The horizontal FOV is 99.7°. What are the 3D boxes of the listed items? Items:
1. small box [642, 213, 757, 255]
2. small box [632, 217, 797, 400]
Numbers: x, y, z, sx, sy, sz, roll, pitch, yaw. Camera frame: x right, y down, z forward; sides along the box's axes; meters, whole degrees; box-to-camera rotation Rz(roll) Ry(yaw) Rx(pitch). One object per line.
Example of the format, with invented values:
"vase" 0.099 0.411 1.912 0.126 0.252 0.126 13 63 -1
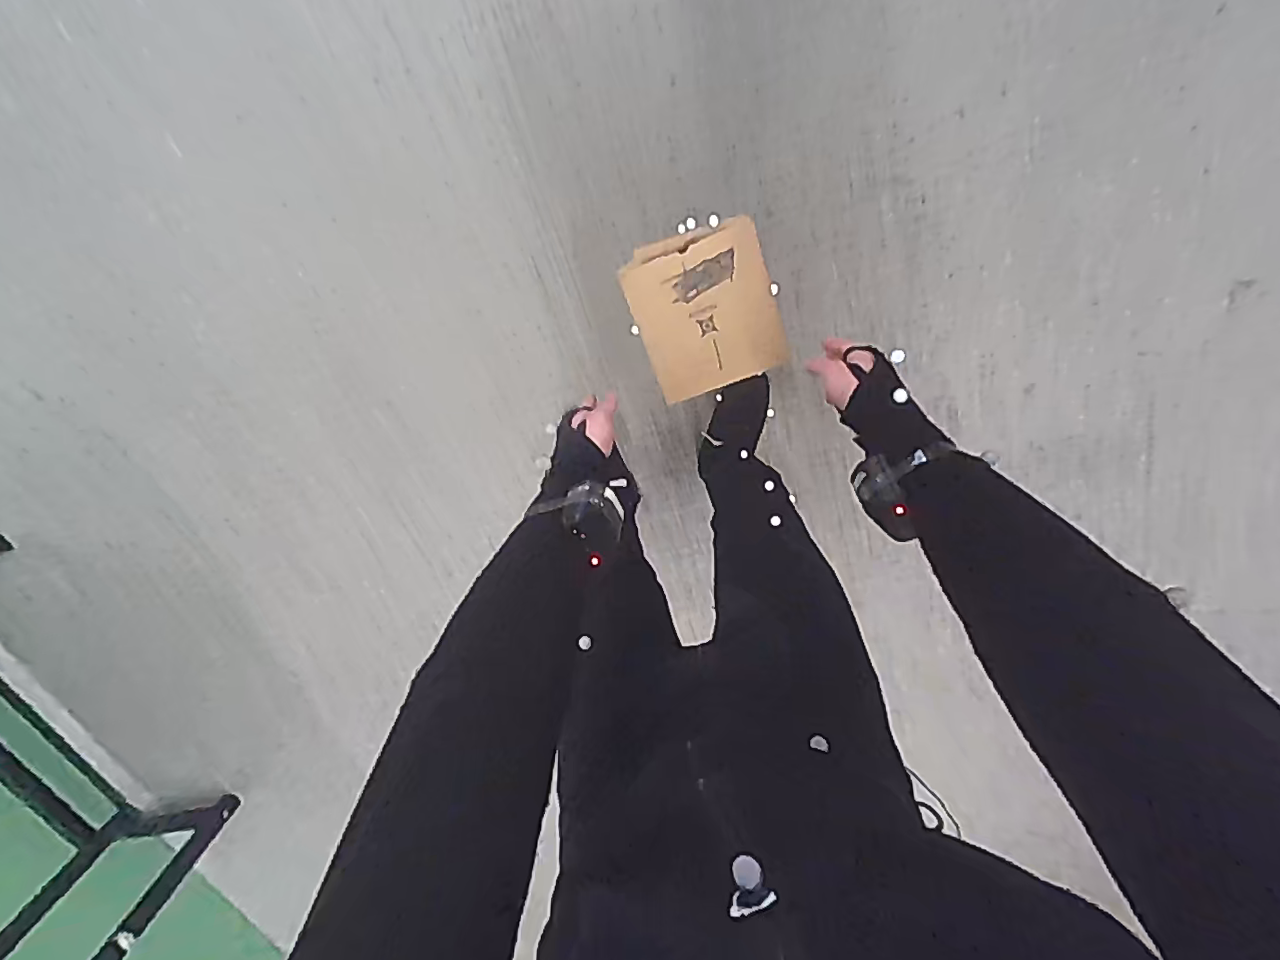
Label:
"small box" 0.106 -0.306 0.855 0.168 0.176 0.179 -14 112 8
"small box" 0.095 -0.226 0.708 0.168 0.176 0.179 -14 113 11
